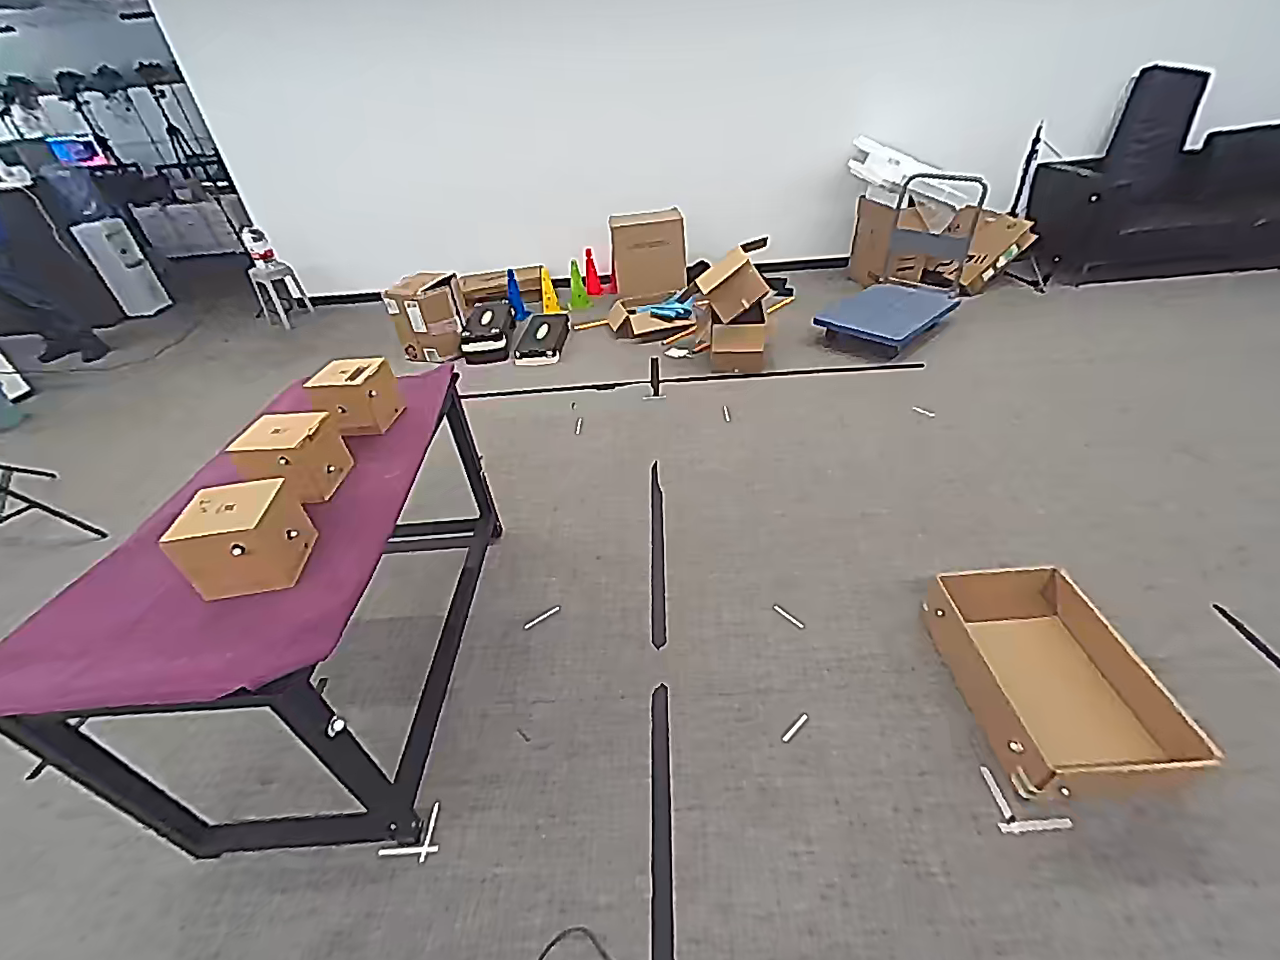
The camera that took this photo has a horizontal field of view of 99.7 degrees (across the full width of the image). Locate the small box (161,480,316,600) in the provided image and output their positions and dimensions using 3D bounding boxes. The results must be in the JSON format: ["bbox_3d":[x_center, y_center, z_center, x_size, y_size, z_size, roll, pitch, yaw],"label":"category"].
[{"bbox_3d":[-0.812,0.125,1.121,0.179,0.176,0.168,-9,37,-4],"label":"small box"}]

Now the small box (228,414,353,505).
[{"bbox_3d":[-0.865,-0.048,1.358,0.179,0.176,0.168,-3,38,3],"label":"small box"}]
